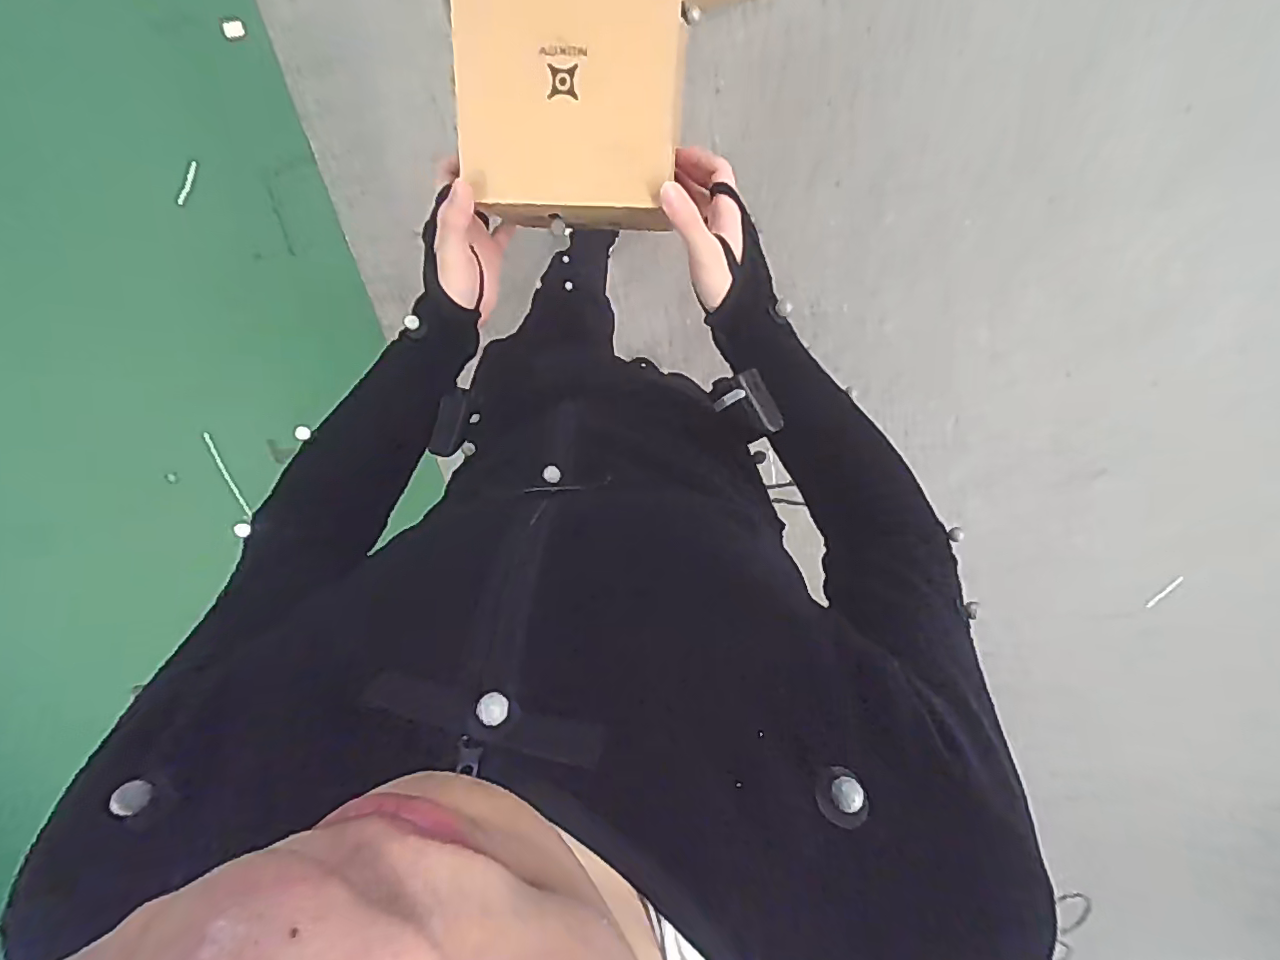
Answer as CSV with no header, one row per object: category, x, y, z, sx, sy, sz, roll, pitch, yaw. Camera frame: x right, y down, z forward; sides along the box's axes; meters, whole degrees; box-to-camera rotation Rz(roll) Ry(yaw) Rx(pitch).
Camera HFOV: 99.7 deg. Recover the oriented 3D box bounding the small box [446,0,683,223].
small box,-0.051,-0.329,0.467,0.168,0.176,0.179,4,107,4
